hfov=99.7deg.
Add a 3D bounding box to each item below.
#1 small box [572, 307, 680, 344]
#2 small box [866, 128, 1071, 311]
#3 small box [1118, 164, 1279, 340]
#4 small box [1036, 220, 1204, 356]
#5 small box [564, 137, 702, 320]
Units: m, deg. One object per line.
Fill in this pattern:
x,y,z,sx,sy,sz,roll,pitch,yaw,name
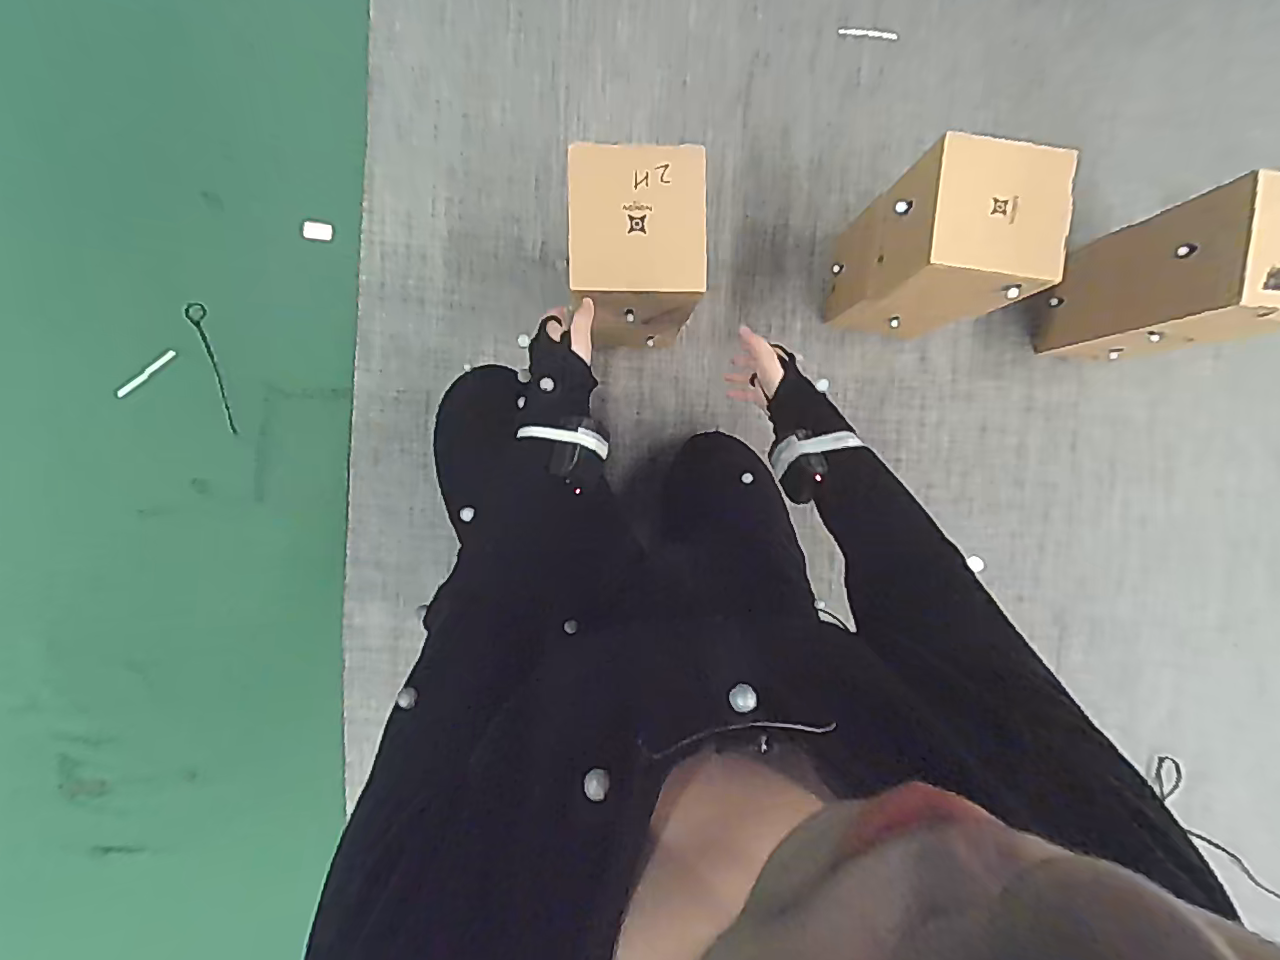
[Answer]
-0.022,-0.327,0.885,0.168,0.176,0.179,1,91,-4,small box
0.438,-0.345,0.749,0.179,0.176,0.168,6,91,-4,small box
0.841,-0.309,0.773,0.168,0.176,0.179,6,91,-4,small box
0.833,-0.320,0.938,0.168,0.176,0.179,5,92,-4,small box
-0.014,-0.319,0.721,0.168,0.176,0.179,0,92,-5,small box
